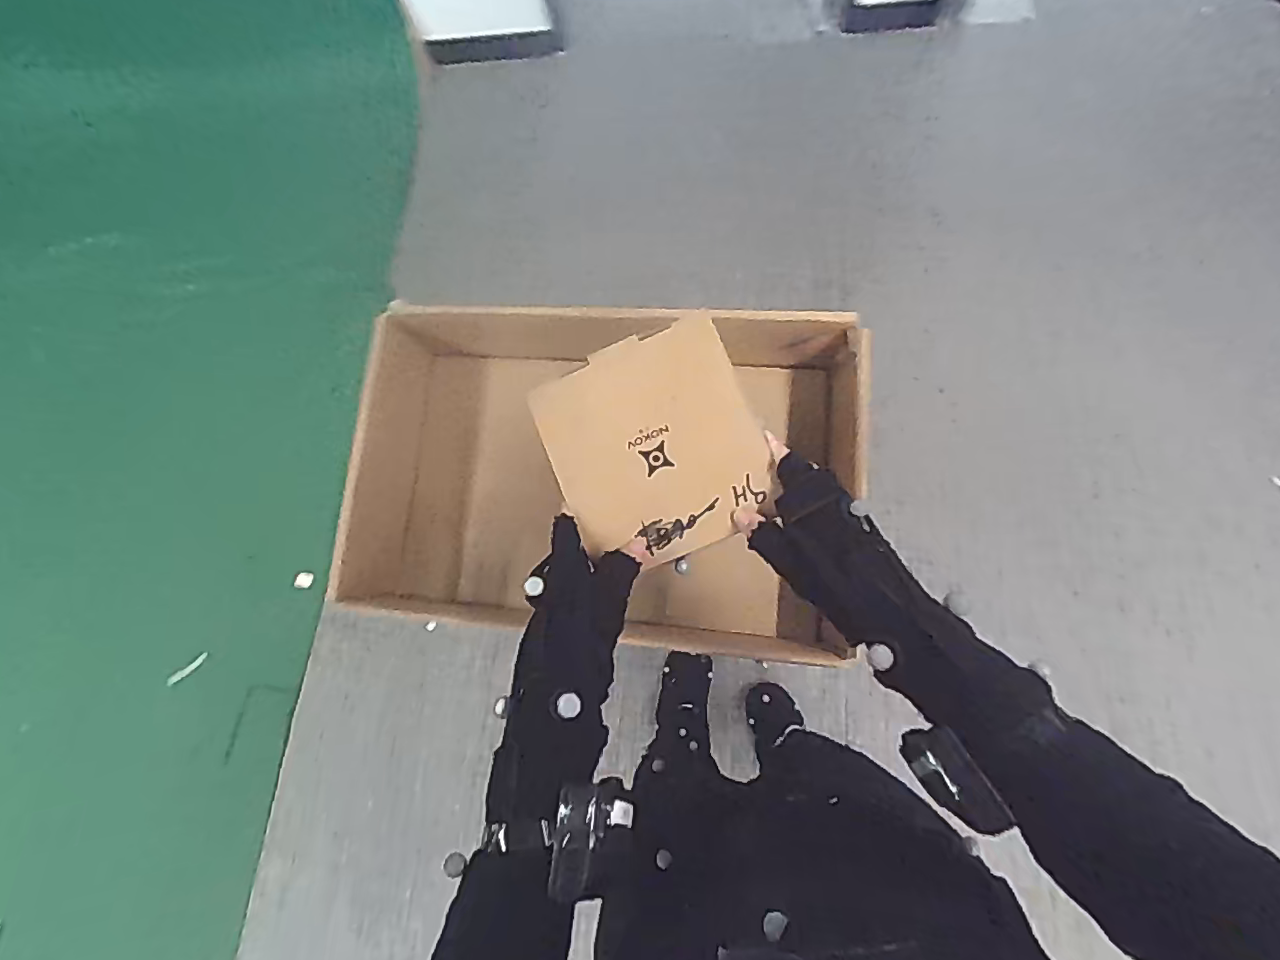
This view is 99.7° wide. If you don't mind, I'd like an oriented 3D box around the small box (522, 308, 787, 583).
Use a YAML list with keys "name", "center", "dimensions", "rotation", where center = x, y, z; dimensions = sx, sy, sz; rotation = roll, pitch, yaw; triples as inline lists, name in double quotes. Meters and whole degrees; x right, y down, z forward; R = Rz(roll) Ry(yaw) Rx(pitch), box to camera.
- name: "small box"
  center: [0.020, -0.022, 0.504]
  dimensions: [0.168, 0.176, 0.179]
  rotation: [-24, 83, 9]
